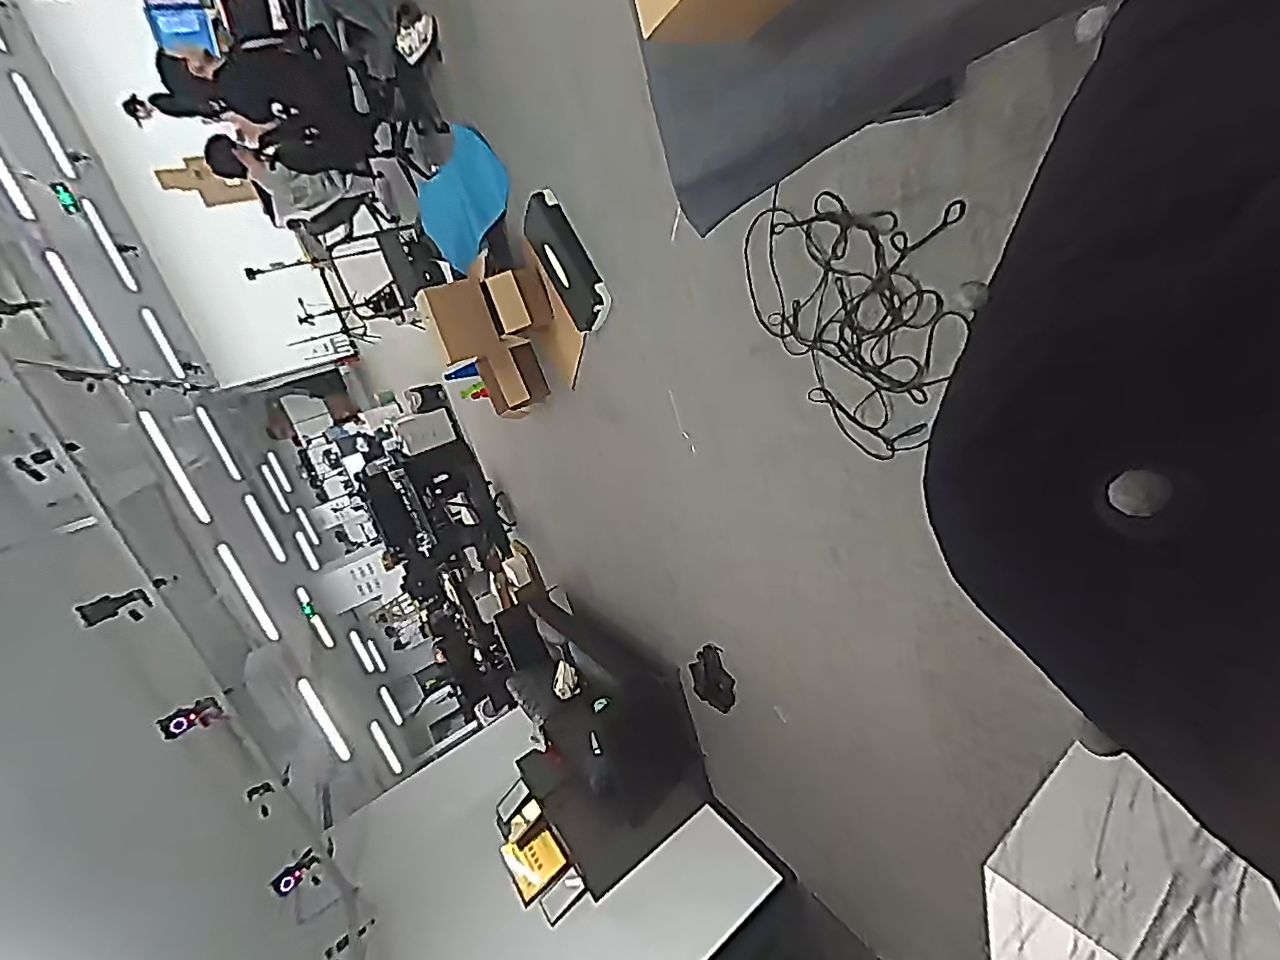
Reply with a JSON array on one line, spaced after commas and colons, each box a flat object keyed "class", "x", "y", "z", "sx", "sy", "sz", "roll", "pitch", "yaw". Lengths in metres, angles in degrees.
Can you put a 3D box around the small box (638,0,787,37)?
[{"class": "small box", "x": 0.096, "y": -0.604, "z": 0.560, "sx": 0.179, "sy": 0.176, "sz": 0.168, "roll": 13, "pitch": 123, "yaw": 58}]
